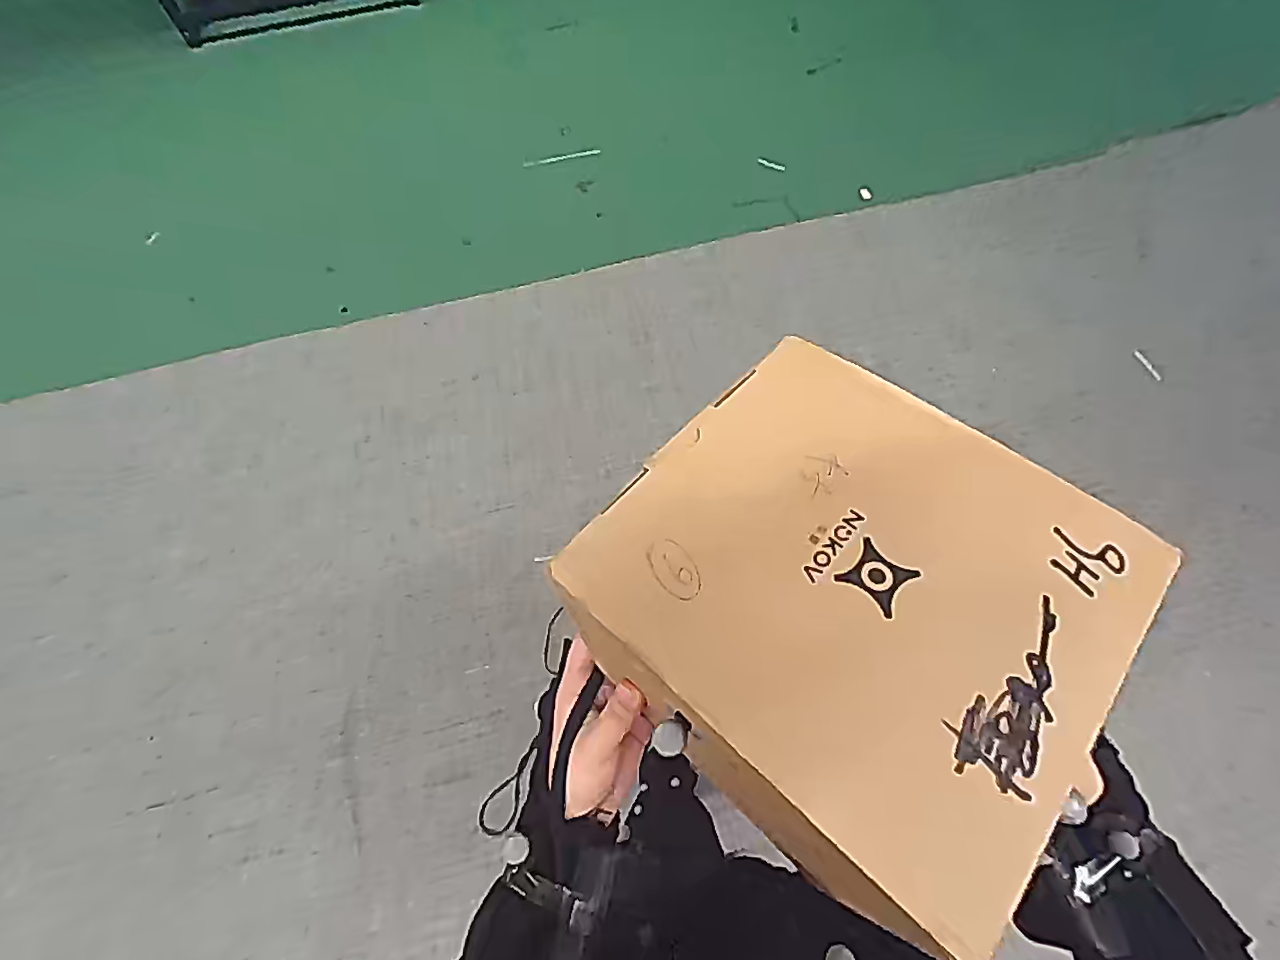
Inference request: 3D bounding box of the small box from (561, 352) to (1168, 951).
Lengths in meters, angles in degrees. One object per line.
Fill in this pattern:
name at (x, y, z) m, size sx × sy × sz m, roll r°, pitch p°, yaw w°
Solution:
small box at (0.088, 0.076, 0.278) m, size 0.179 × 0.176 × 0.168 m, roll 38°, pitch 69°, yaw 22°
